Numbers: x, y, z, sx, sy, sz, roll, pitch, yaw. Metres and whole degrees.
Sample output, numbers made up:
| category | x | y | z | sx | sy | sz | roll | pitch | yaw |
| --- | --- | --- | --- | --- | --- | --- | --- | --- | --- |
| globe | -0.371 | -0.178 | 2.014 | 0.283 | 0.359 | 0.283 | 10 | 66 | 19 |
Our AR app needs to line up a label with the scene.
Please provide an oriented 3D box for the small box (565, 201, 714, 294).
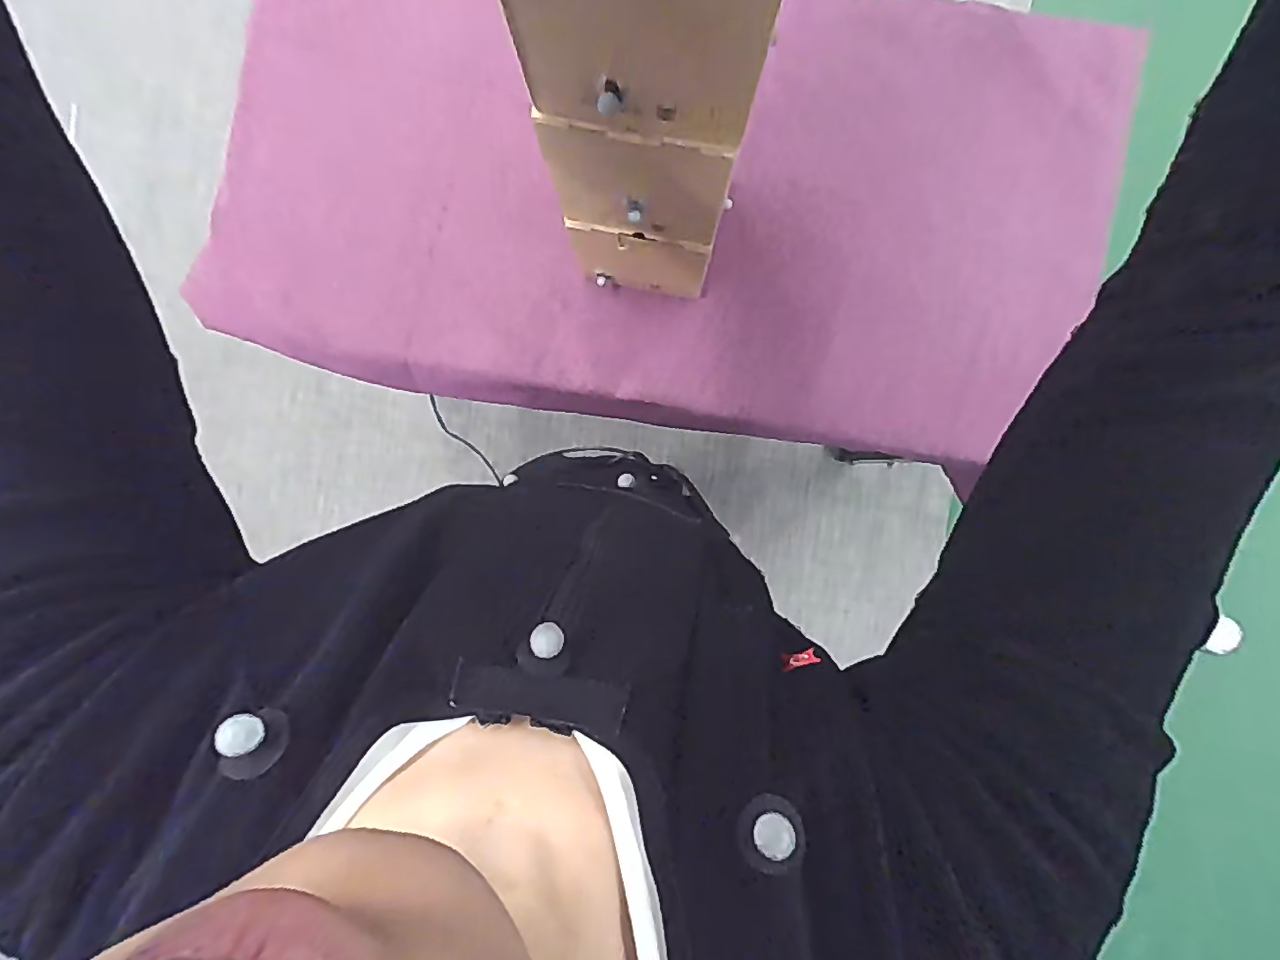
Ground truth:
| category | x | y | z | sx | sy | sz | roll | pitch | yaw |
| --- | --- | --- | --- | --- | --- | --- | --- | --- | --- |
| small box | 0.016 | -0.349 | 0.667 | 0.168 | 0.176 | 0.179 | 11 | 91 | 1 |

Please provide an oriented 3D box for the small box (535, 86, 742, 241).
| category | x | y | z | sx | sy | sz | roll | pitch | yaw |
| --- | --- | --- | --- | --- | --- | --- | --- | --- | --- |
| small box | 0.014 | -0.355 | 0.503 | 0.168 | 0.176 | 0.179 | 11 | 91 | 1 |

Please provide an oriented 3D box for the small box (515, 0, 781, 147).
| category | x | y | z | sx | sy | sz | roll | pitch | yaw |
| --- | --- | --- | --- | --- | --- | --- | --- | --- | --- |
| small box | 0.013 | -0.357 | 0.340 | 0.168 | 0.176 | 0.179 | 11 | 91 | 1 |
